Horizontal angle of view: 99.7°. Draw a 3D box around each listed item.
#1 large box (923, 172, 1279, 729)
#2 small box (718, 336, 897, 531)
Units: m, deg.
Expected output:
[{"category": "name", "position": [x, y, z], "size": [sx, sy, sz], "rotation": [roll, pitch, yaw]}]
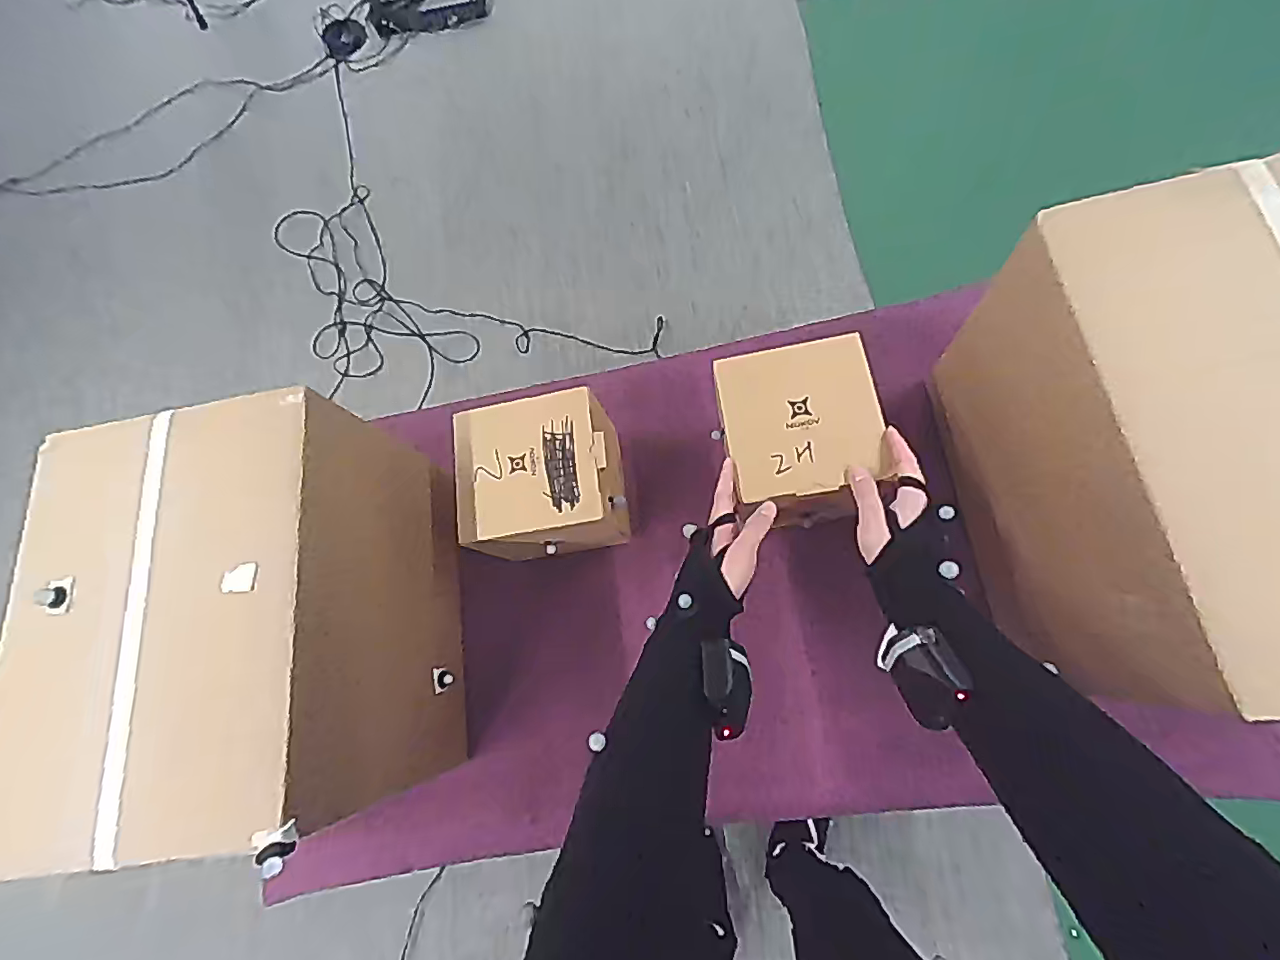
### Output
[{"category": "large box", "position": [0.528, -0.015, 0.520], "size": [0.320, 0.320, 0.408], "rotation": [-9, 73, 9]}, {"category": "small box", "position": [0.187, -0.046, 0.662], "size": [0.168, 0.176, 0.179], "rotation": [-9, 73, 7]}]
